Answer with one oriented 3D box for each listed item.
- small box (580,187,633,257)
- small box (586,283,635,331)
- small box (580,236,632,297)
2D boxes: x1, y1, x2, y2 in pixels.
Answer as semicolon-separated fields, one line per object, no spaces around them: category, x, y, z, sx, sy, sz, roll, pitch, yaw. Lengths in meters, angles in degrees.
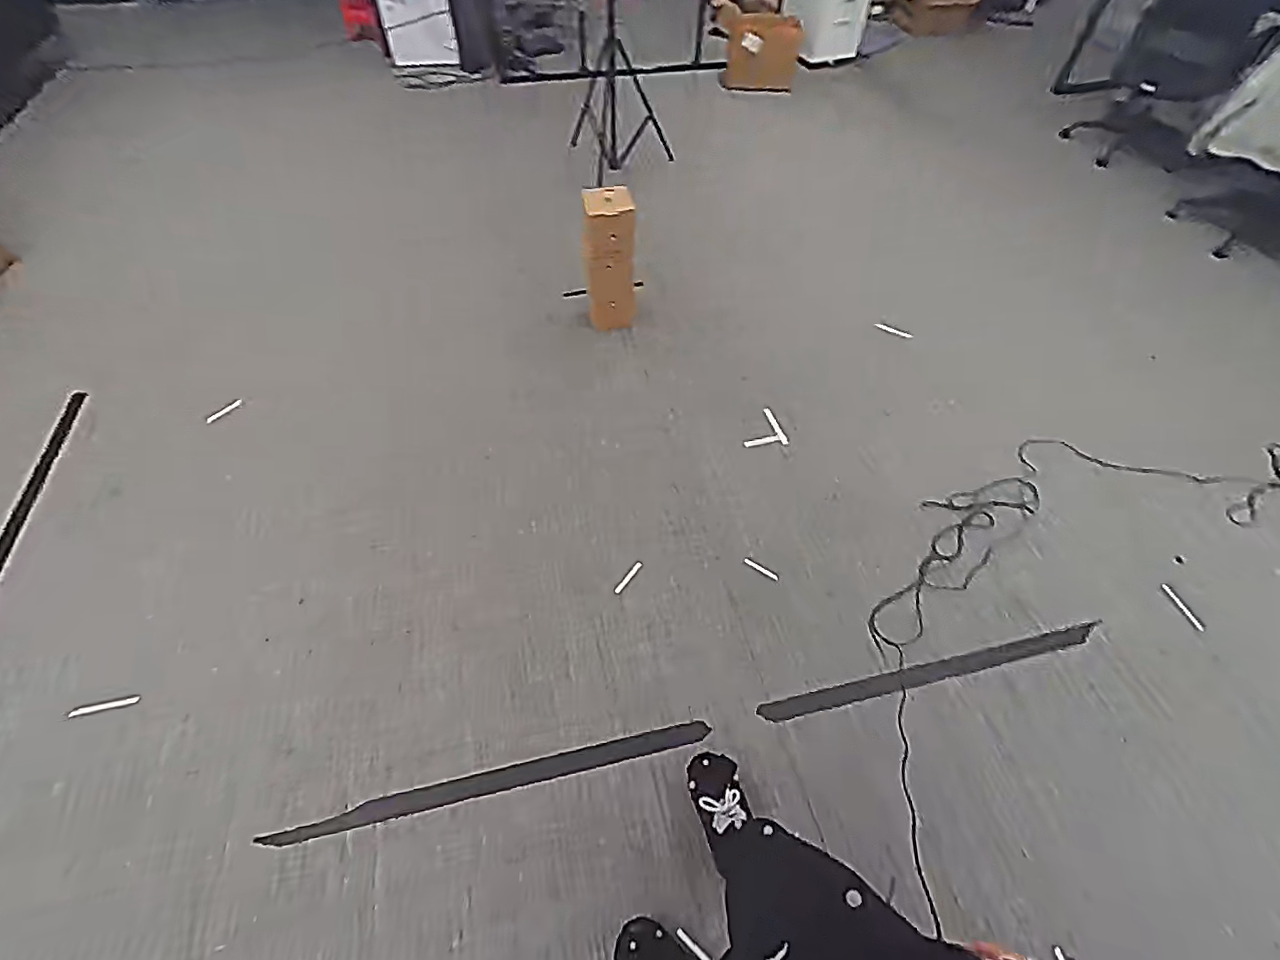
small box;-0.118;-0.928;1.960;0.168;0.176;0.179;-10;56;-8
small box;-0.124;-0.738;2.227;0.179;0.176;0.168;-11;56;-9
small box;-0.128;-0.829;2.090;0.179;0.176;0.168;-9;56;-7
